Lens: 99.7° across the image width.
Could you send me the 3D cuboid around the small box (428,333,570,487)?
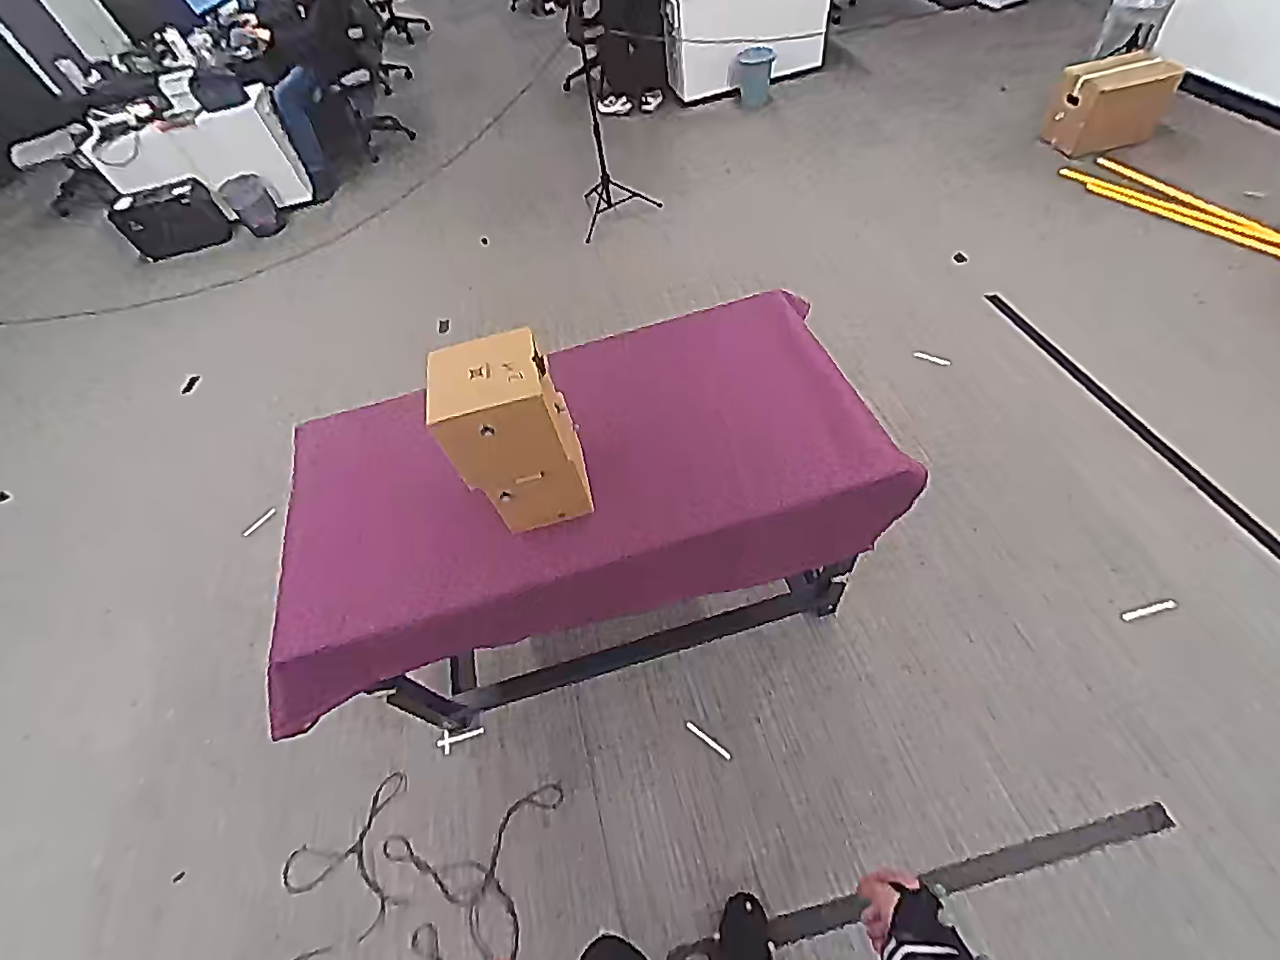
[{"bbox_3d":[-0.227,-0.109,0.893,0.179,0.176,0.168,-14,53,-1],"label":"small box"}]
